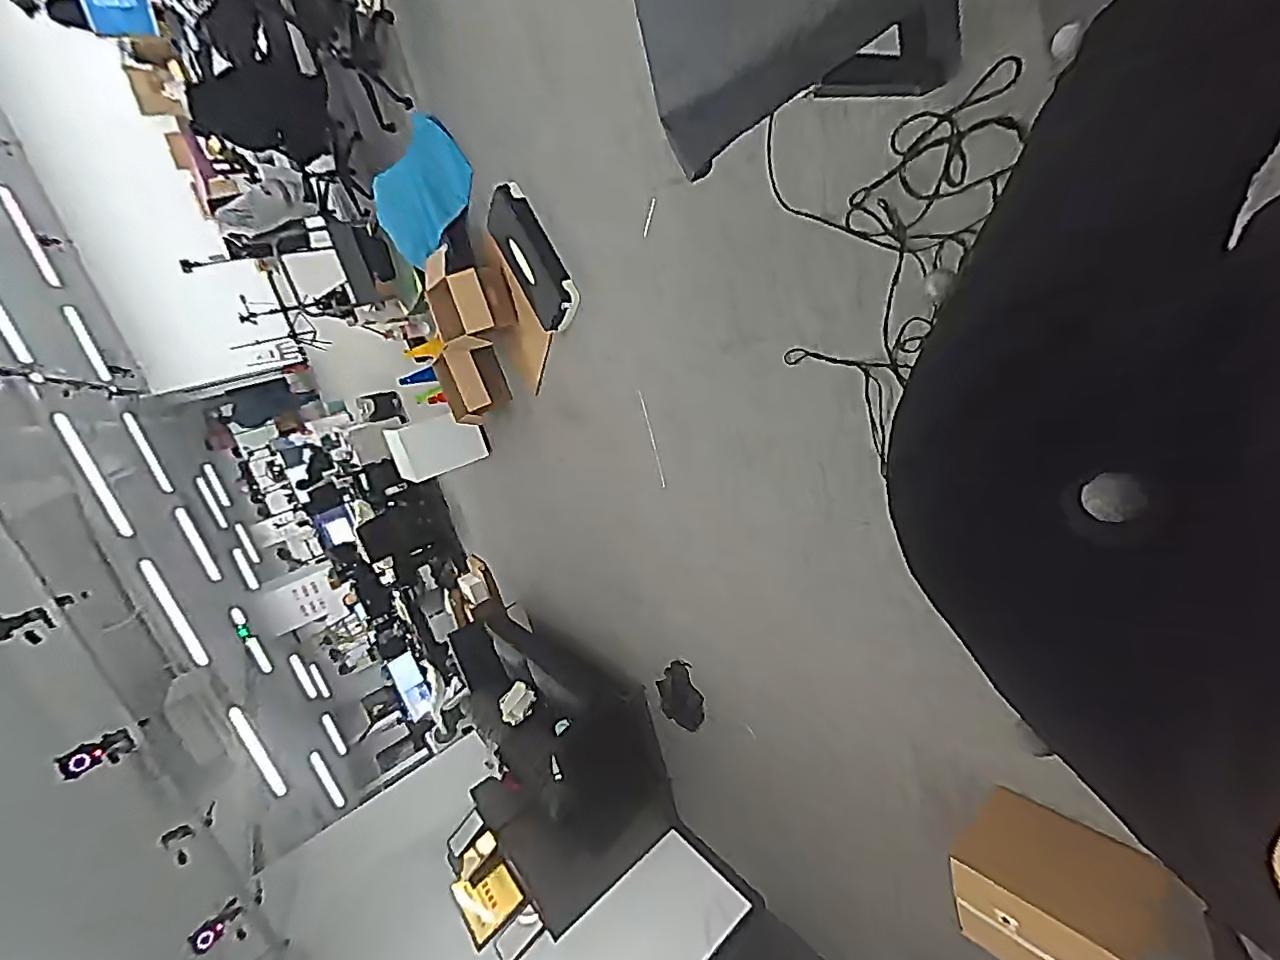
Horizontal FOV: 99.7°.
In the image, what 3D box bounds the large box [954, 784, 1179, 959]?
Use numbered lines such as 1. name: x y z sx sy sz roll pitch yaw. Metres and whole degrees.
1. large box: 1.156 1.143 1.479 0.408 0.320 0.320 8 118 56
